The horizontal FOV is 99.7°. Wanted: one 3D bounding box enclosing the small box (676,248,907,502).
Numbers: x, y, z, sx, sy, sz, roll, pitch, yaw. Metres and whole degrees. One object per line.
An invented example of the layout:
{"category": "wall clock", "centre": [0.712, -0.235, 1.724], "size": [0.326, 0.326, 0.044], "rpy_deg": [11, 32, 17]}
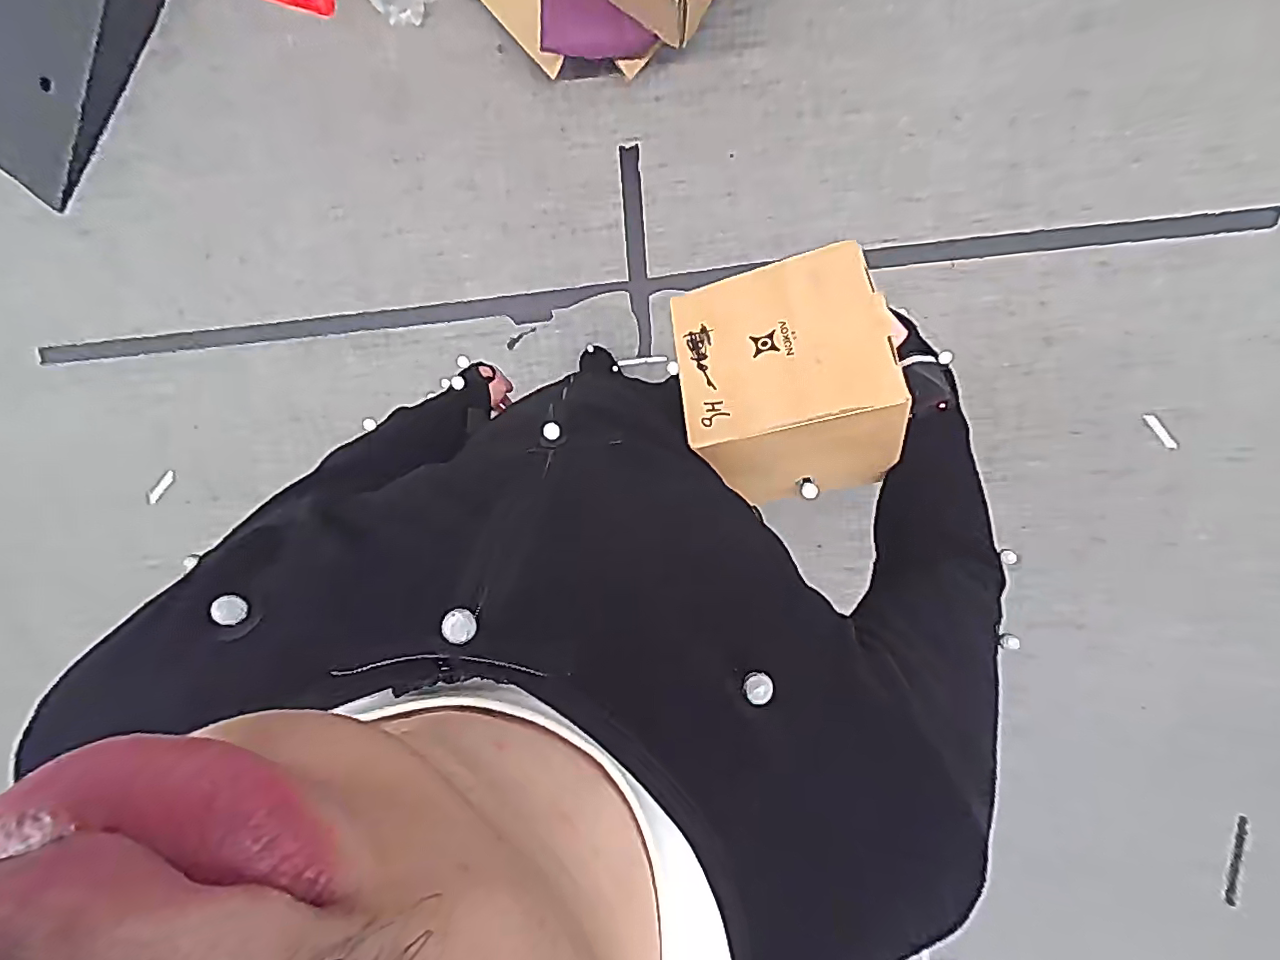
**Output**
{"category": "small box", "centre": [0.147, -0.091, 0.548], "size": [0.179, 0.176, 0.168], "rpy_deg": [-12, 64, 15]}
